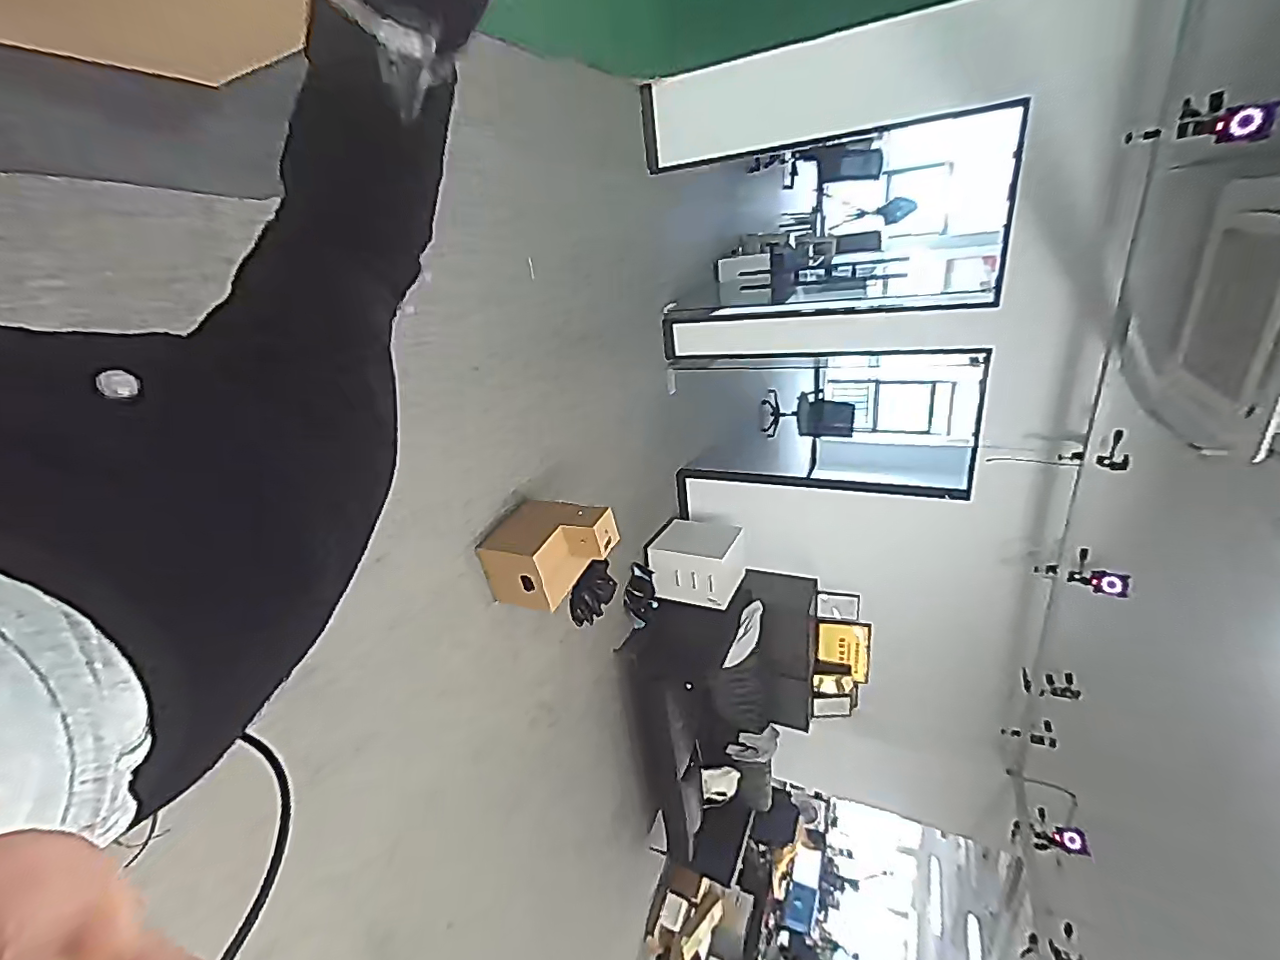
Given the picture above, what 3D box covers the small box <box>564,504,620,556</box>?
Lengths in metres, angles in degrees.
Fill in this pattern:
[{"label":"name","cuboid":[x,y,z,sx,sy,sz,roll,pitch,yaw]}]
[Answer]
[{"label":"small box","cuboid":[-0.216,0.219,2.422,0.168,0.176,0.179,-51,134,-50]}]
